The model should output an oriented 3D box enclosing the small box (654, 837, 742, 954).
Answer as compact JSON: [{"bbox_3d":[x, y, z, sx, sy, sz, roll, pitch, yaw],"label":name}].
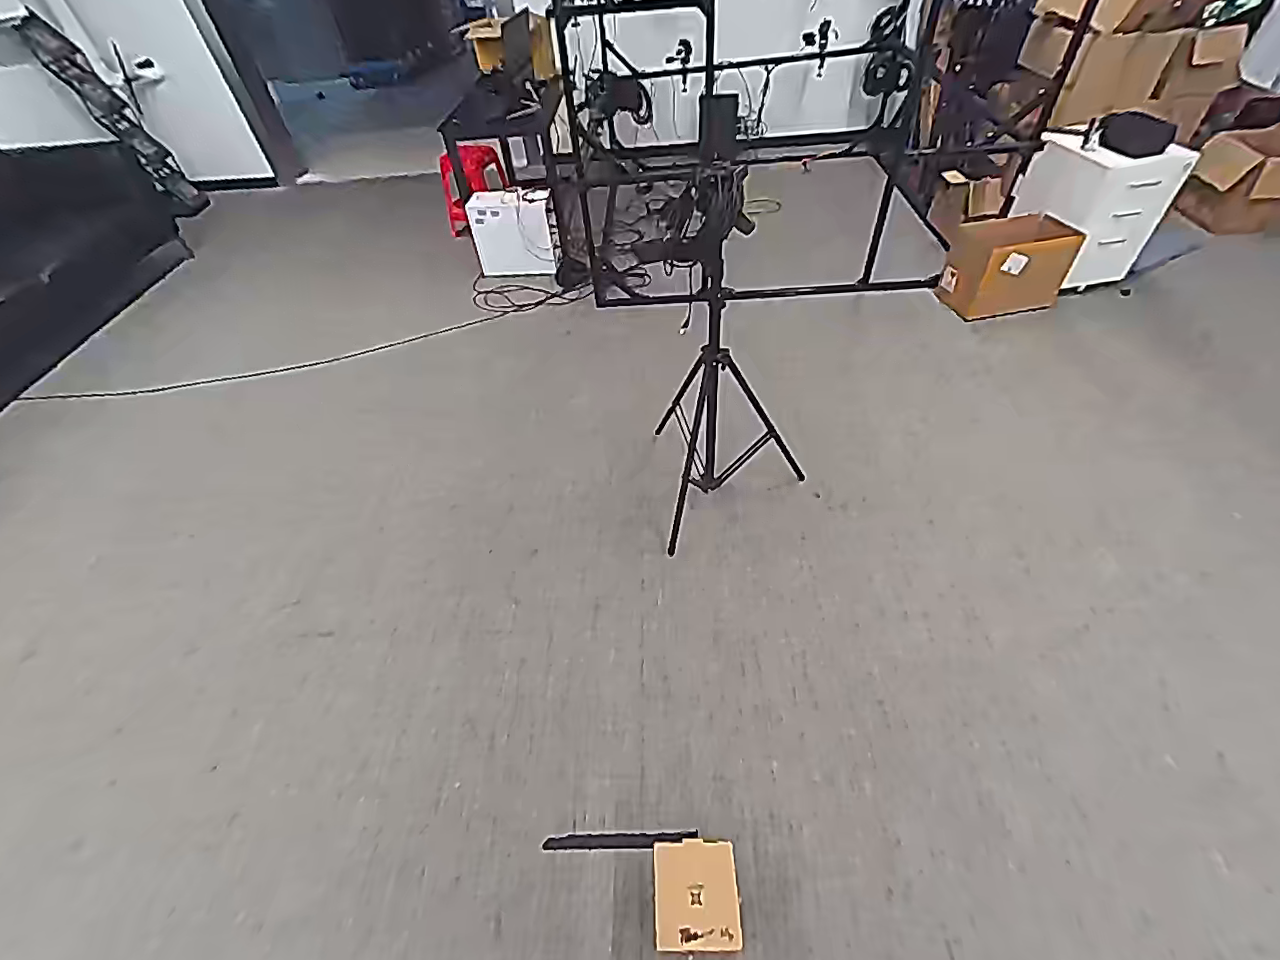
[{"bbox_3d":[0.114,0.870,1.133,0.168,0.176,0.179,-3,46,2],"label":"small box"}]
